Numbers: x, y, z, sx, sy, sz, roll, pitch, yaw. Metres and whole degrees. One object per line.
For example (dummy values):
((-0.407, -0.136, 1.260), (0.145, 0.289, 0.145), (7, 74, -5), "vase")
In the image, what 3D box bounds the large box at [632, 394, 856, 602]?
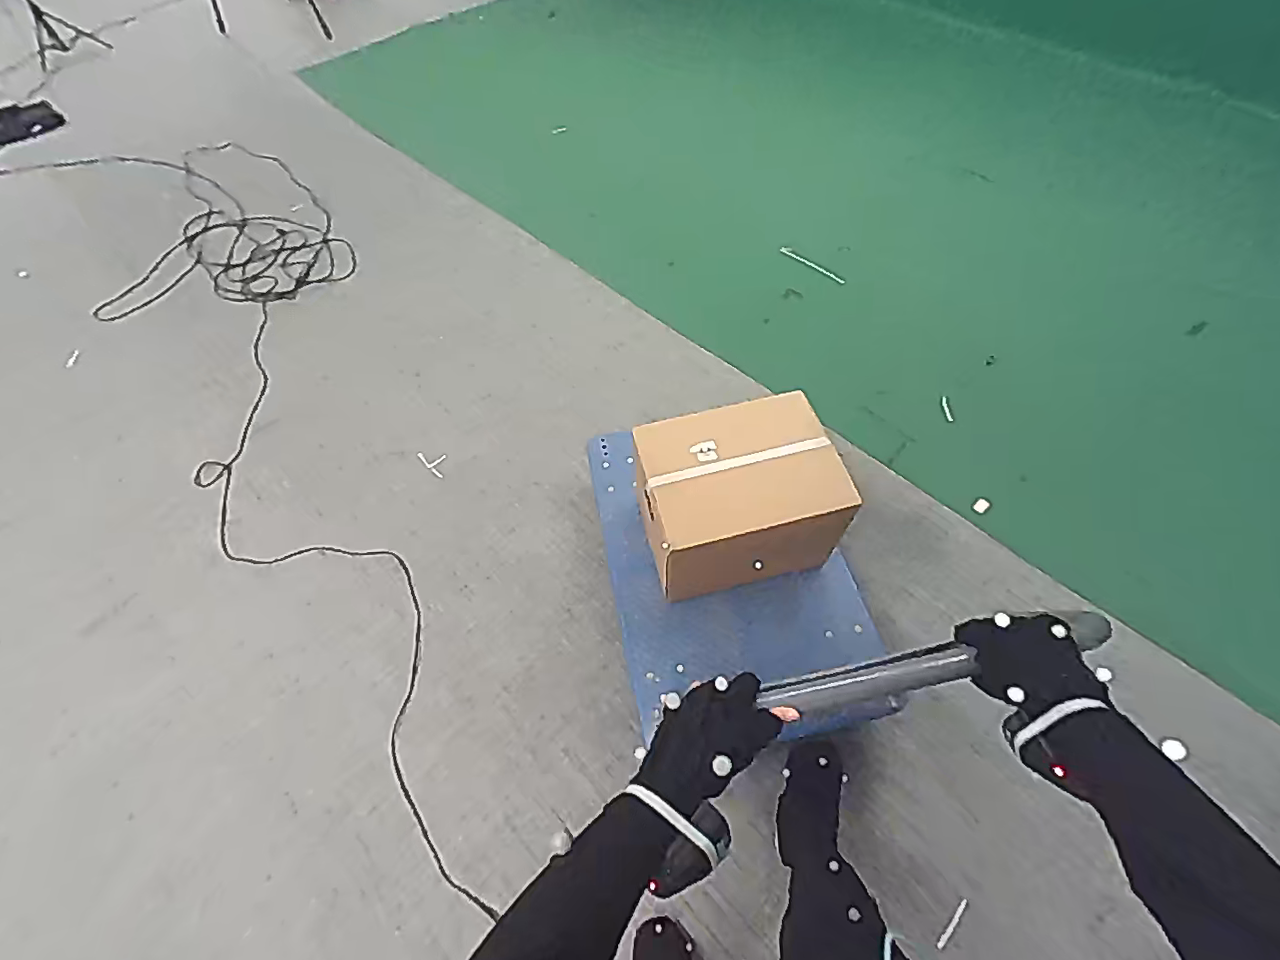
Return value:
((0.216, 0.050, 1.271), (0.408, 0.320, 0.320), (-14, 58, -6), "large box")
